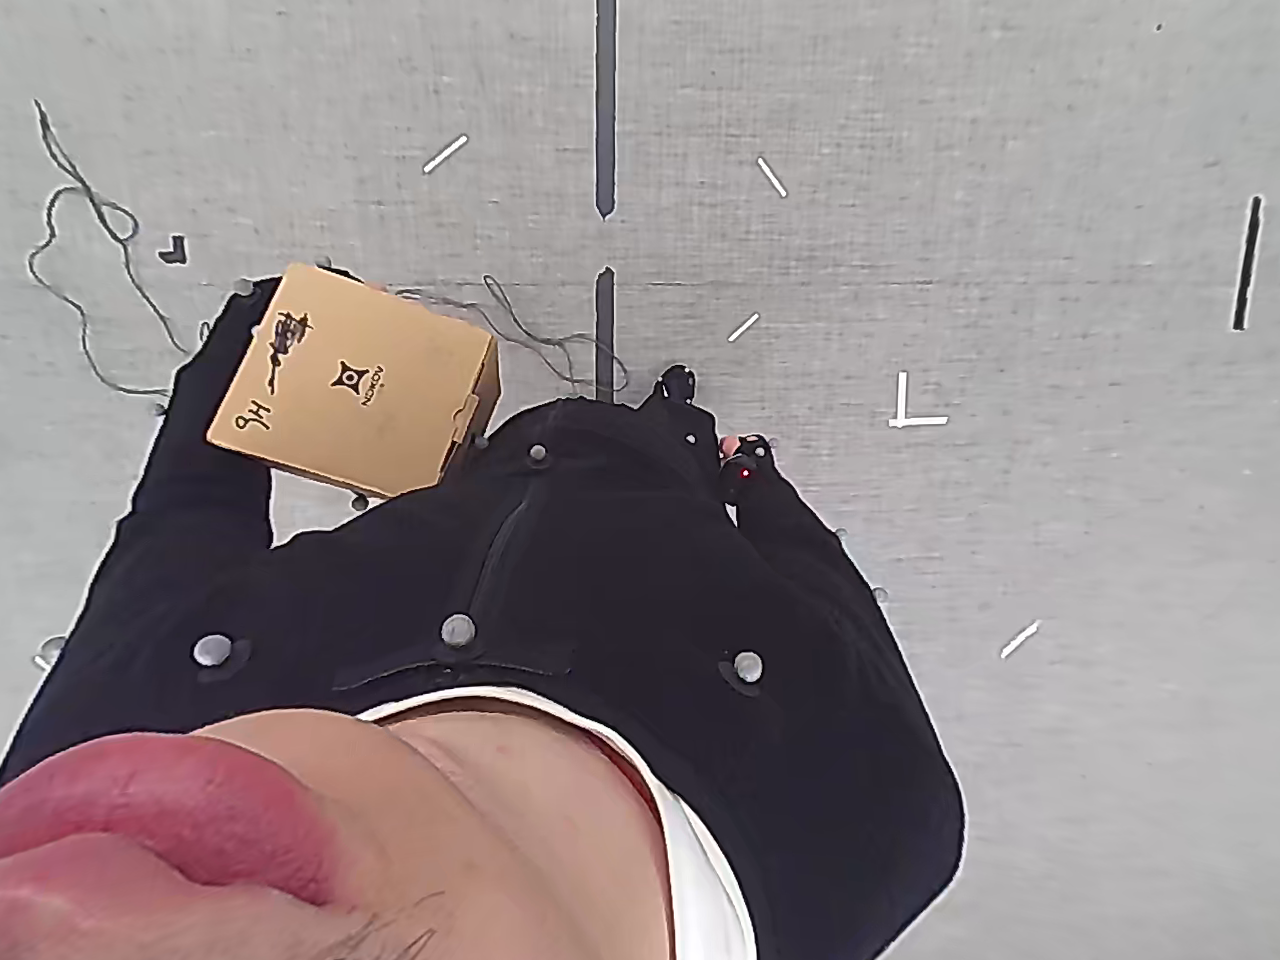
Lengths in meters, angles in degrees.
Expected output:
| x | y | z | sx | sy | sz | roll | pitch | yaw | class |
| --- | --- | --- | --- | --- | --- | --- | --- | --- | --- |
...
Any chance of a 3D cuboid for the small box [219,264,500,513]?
| x | y | z | sx | sy | sz | roll | pitch | yaw | class |
| --- | --- | --- | --- | --- | --- | --- | --- | --- | --- |
| -0.247 | -0.070 | 0.532 | 0.179 | 0.176 | 0.168 | 19 | 77 | -10 | small box |
